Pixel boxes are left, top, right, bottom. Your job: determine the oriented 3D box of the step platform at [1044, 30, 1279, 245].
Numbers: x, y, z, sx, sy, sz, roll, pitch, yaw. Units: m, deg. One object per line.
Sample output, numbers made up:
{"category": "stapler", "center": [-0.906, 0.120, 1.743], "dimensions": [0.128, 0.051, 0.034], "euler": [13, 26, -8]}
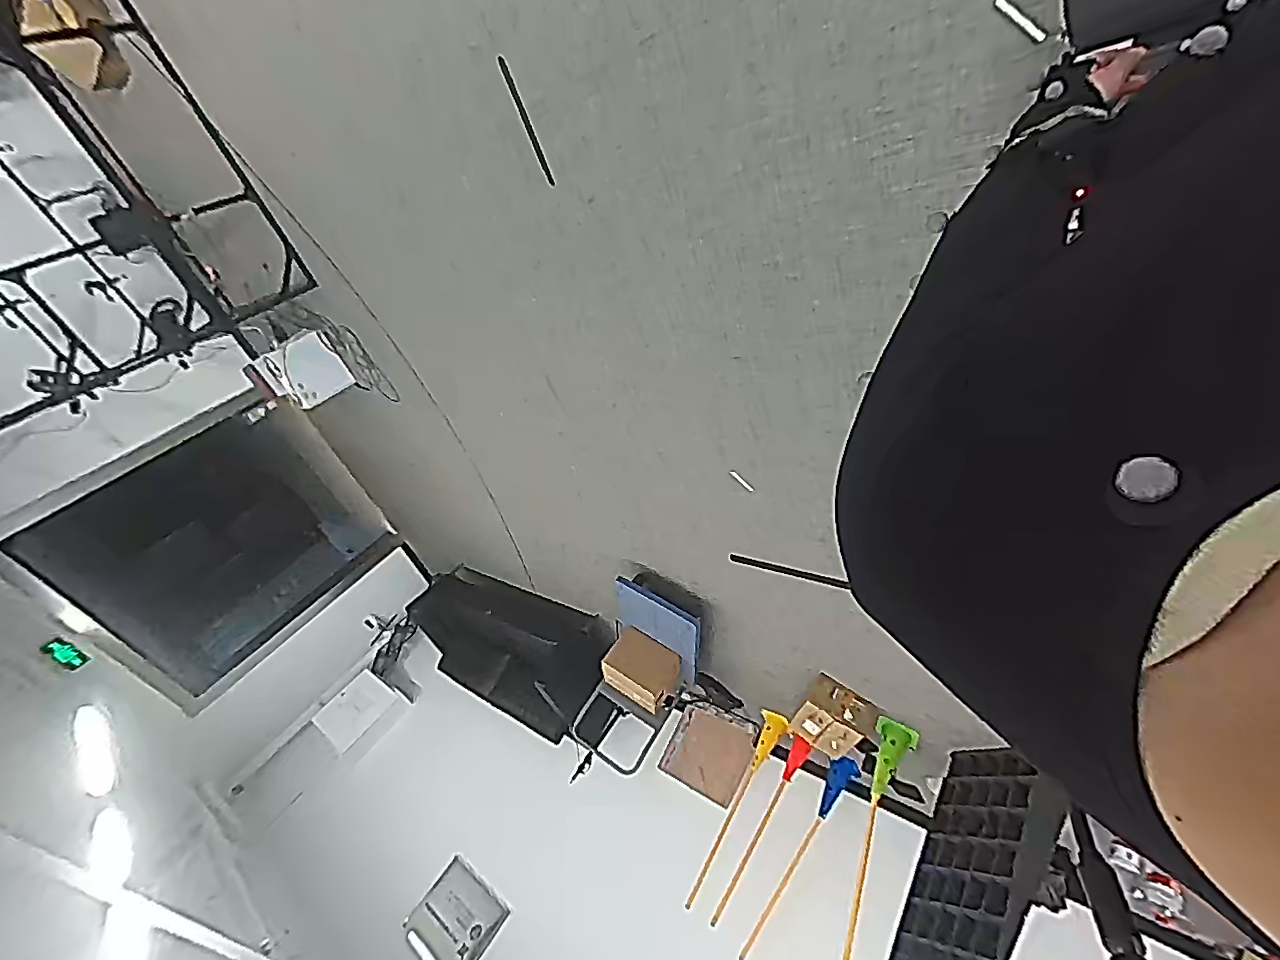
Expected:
{"category": "step platform", "center": [1.056, -0.557, 0.840], "dimensions": [0.684, 0.204, 0.286], "euler": [14, 135, 39]}
